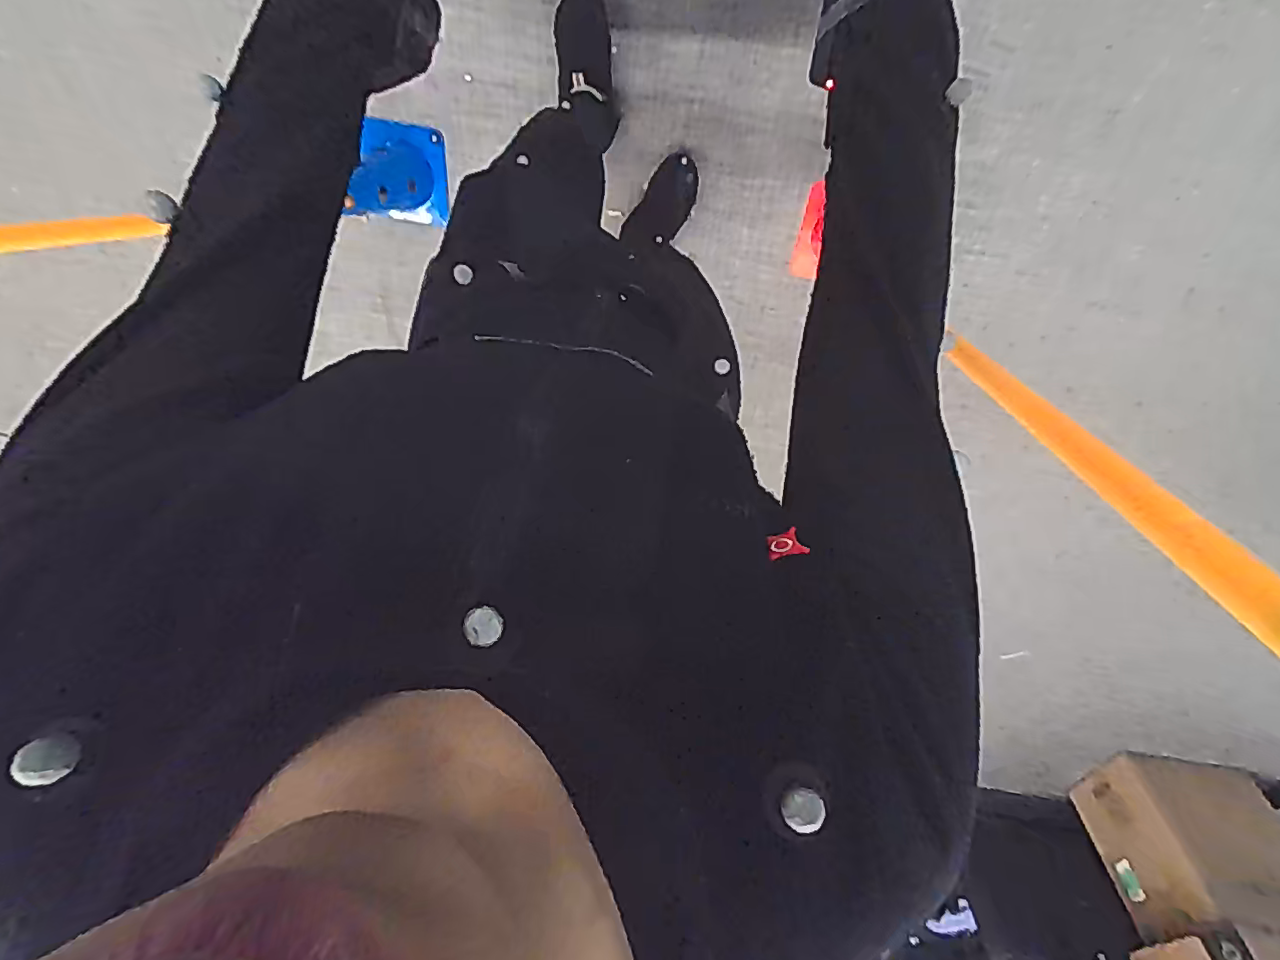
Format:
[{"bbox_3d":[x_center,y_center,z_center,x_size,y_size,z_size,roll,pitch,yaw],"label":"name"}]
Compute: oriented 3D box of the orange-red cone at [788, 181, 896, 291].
[{"bbox_3d":[0.433,-0.455,1.092,0.199,0.360,0.198,10,128,1],"label":"orange-red cone"}]
